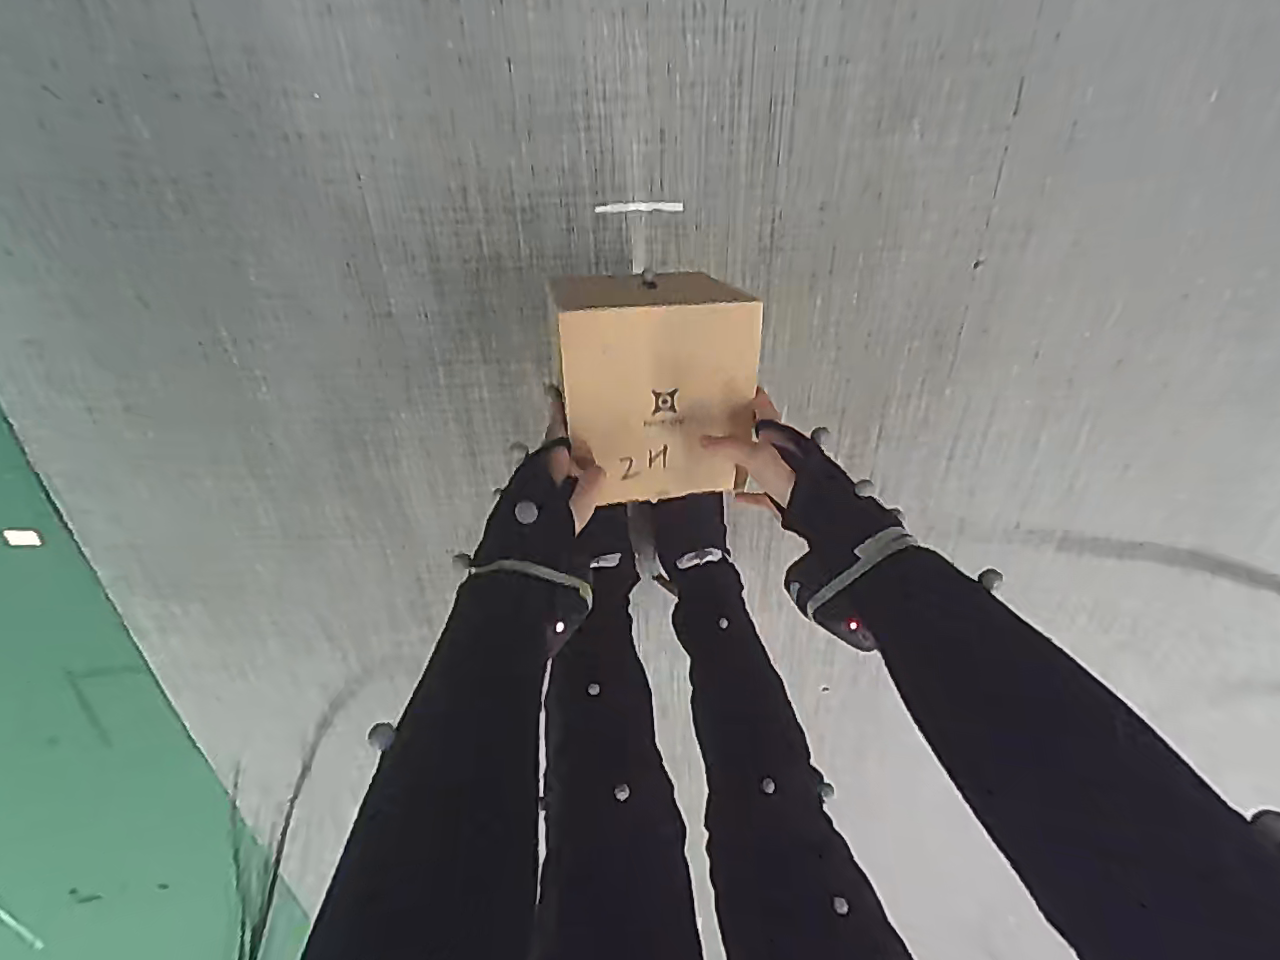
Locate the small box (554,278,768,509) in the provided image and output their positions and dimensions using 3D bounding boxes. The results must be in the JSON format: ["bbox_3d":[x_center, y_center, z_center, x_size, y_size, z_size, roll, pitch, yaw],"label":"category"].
[{"bbox_3d":[0.007,-0.094,0.521,0.168,0.176,0.179,-4,120,-9],"label":"small box"}]
